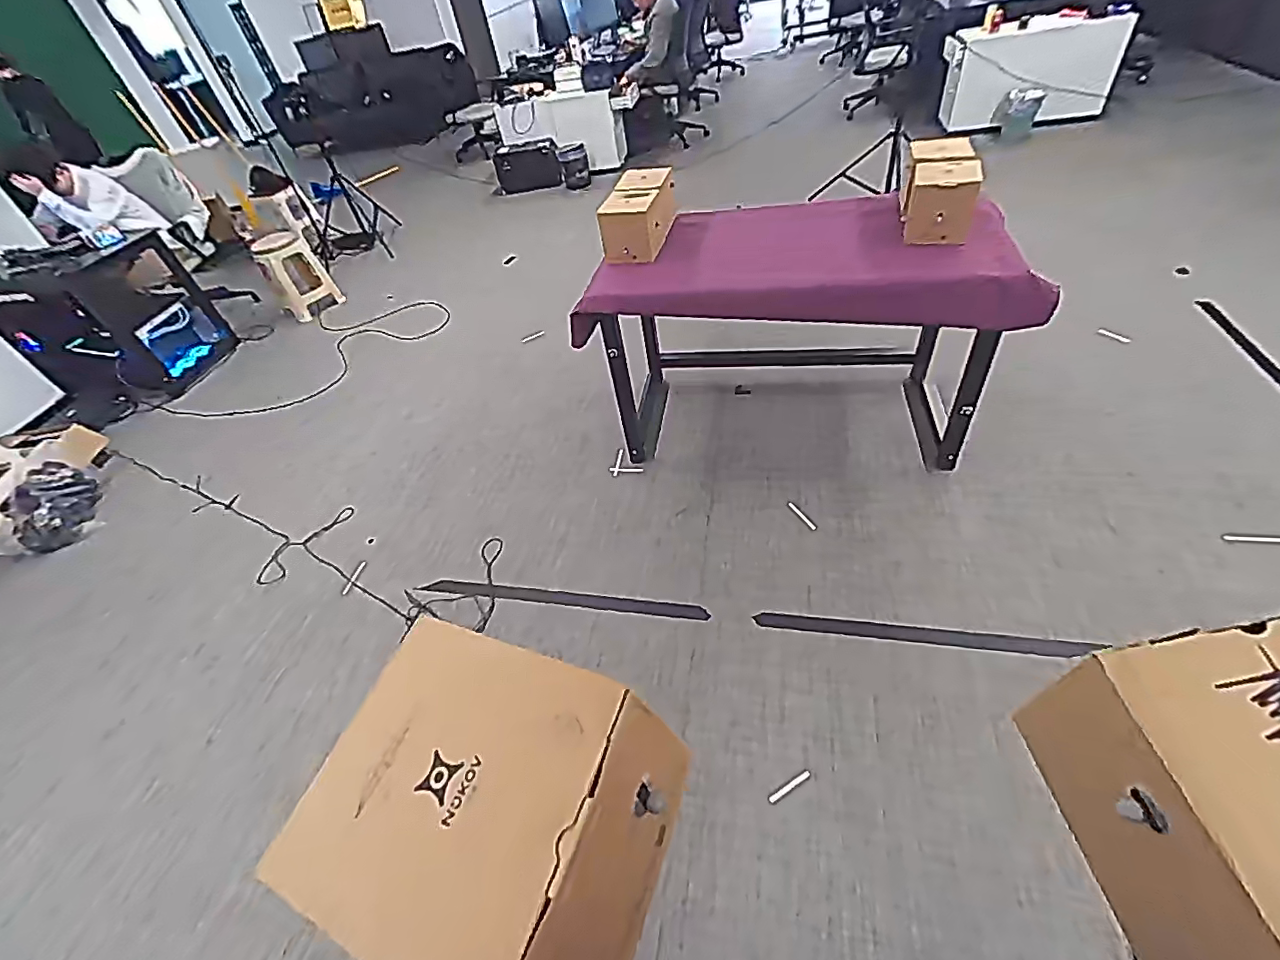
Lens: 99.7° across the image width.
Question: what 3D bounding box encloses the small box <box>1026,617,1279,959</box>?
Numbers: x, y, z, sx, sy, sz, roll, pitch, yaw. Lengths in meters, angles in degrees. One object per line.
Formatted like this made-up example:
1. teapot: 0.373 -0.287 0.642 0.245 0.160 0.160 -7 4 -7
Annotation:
1. small box: 0.371 0.194 0.312 0.168 0.176 0.179 -16 52 7

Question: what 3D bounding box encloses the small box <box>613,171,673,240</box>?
1. small box: 0.018 -0.967 1.905 0.168 0.176 0.179 5 49 16

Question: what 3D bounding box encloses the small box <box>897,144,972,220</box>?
1. small box: 0.910 -0.929 1.689 0.168 0.176 0.179 5 47 16

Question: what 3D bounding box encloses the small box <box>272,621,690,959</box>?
1. small box: -0.081 0.223 0.367 0.179 0.176 0.168 7 54 27
